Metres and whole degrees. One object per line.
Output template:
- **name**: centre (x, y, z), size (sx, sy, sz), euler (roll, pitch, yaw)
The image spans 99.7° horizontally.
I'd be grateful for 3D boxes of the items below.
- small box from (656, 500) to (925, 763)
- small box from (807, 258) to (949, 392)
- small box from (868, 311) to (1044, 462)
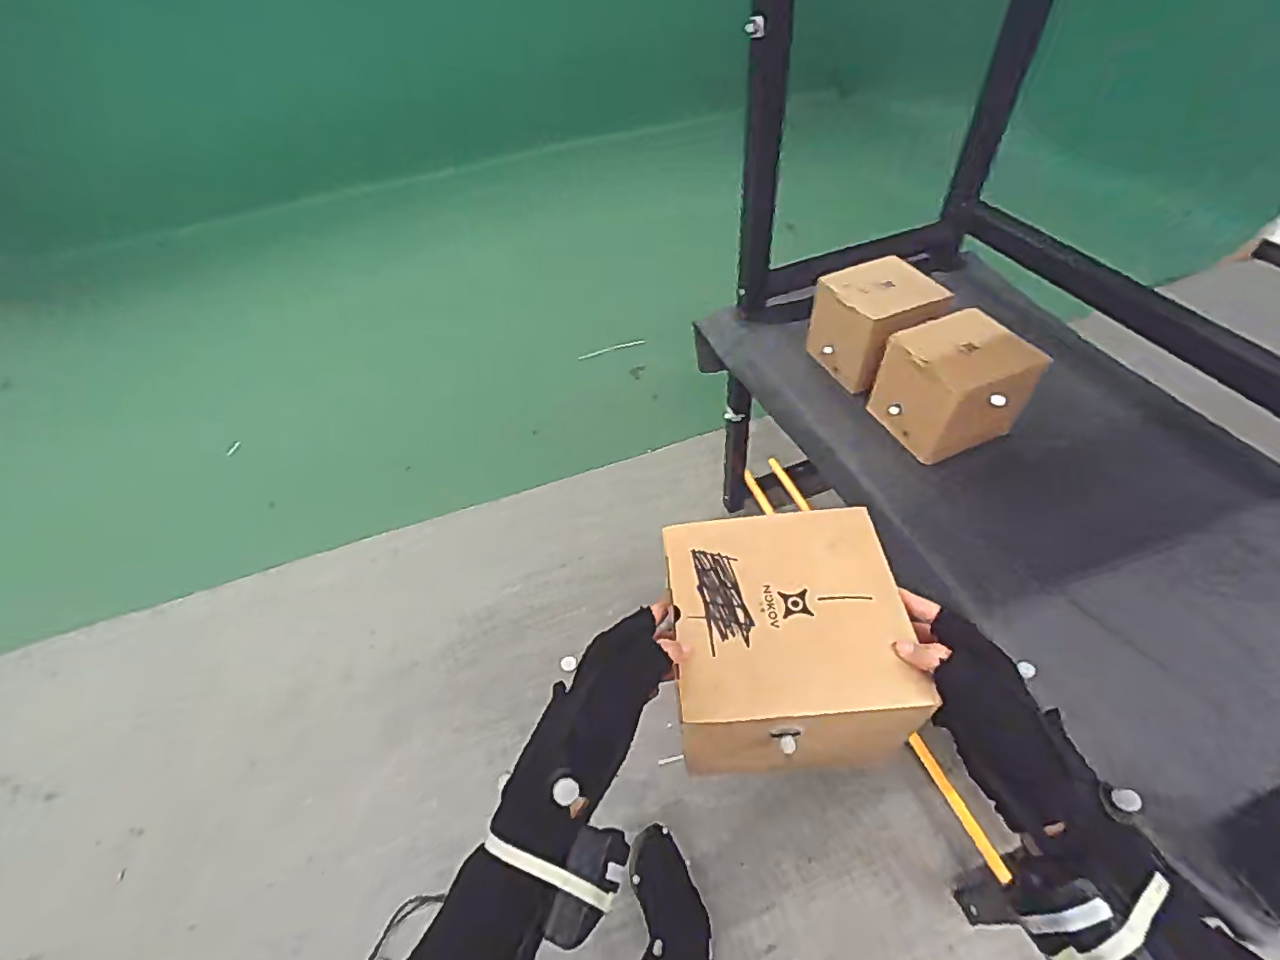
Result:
- **small box**: centre (0.113, 0.139, 0.479), size (0.179, 0.176, 0.168), euler (-6, 50, 2)
- **small box**: centre (0.454, -0.302, 1.064), size (0.179, 0.176, 0.168), euler (-20, 51, -10)
- **small box**: centre (0.531, -0.160, 0.940), size (0.179, 0.176, 0.168), euler (-20, 51, -10)
